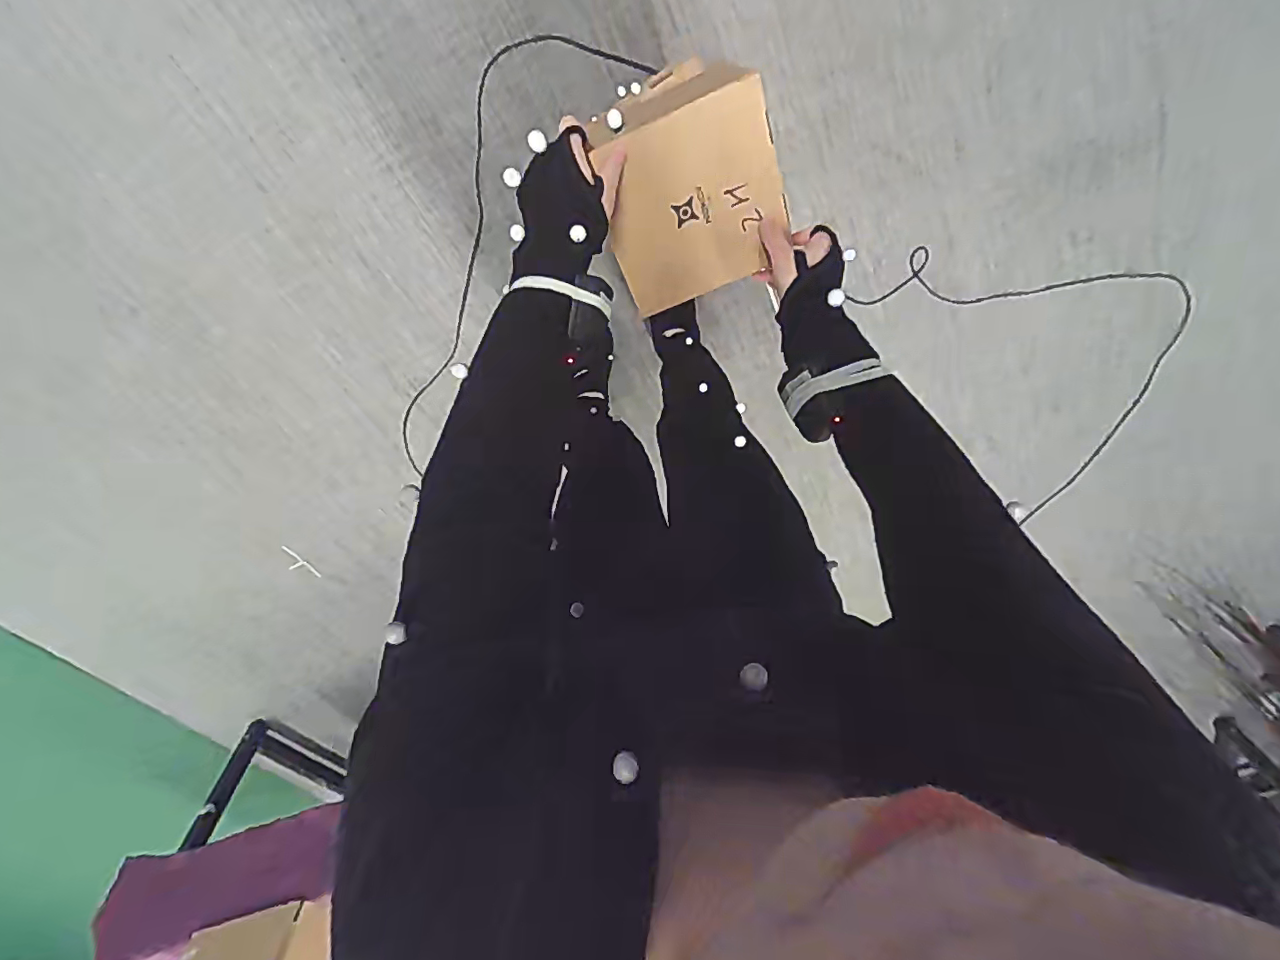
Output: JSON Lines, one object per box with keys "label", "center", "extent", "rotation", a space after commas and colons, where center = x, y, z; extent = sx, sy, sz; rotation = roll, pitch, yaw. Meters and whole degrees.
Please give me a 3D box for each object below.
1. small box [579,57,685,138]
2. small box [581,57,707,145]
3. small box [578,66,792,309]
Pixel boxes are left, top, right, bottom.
{"label": "small box", "center": [0.024, -0.529, 0.866], "extent": [0.179, 0.176, 0.168], "rotation": [-27, 121, 15]}
{"label": "small box", "center": [0.040, -0.430, 0.736], "extent": [0.168, 0.176, 0.179], "rotation": [-27, 120, 16]}
{"label": "small box", "center": [0.046, -0.322, 0.595], "extent": [0.179, 0.176, 0.168], "rotation": [-20, 128, 11]}
